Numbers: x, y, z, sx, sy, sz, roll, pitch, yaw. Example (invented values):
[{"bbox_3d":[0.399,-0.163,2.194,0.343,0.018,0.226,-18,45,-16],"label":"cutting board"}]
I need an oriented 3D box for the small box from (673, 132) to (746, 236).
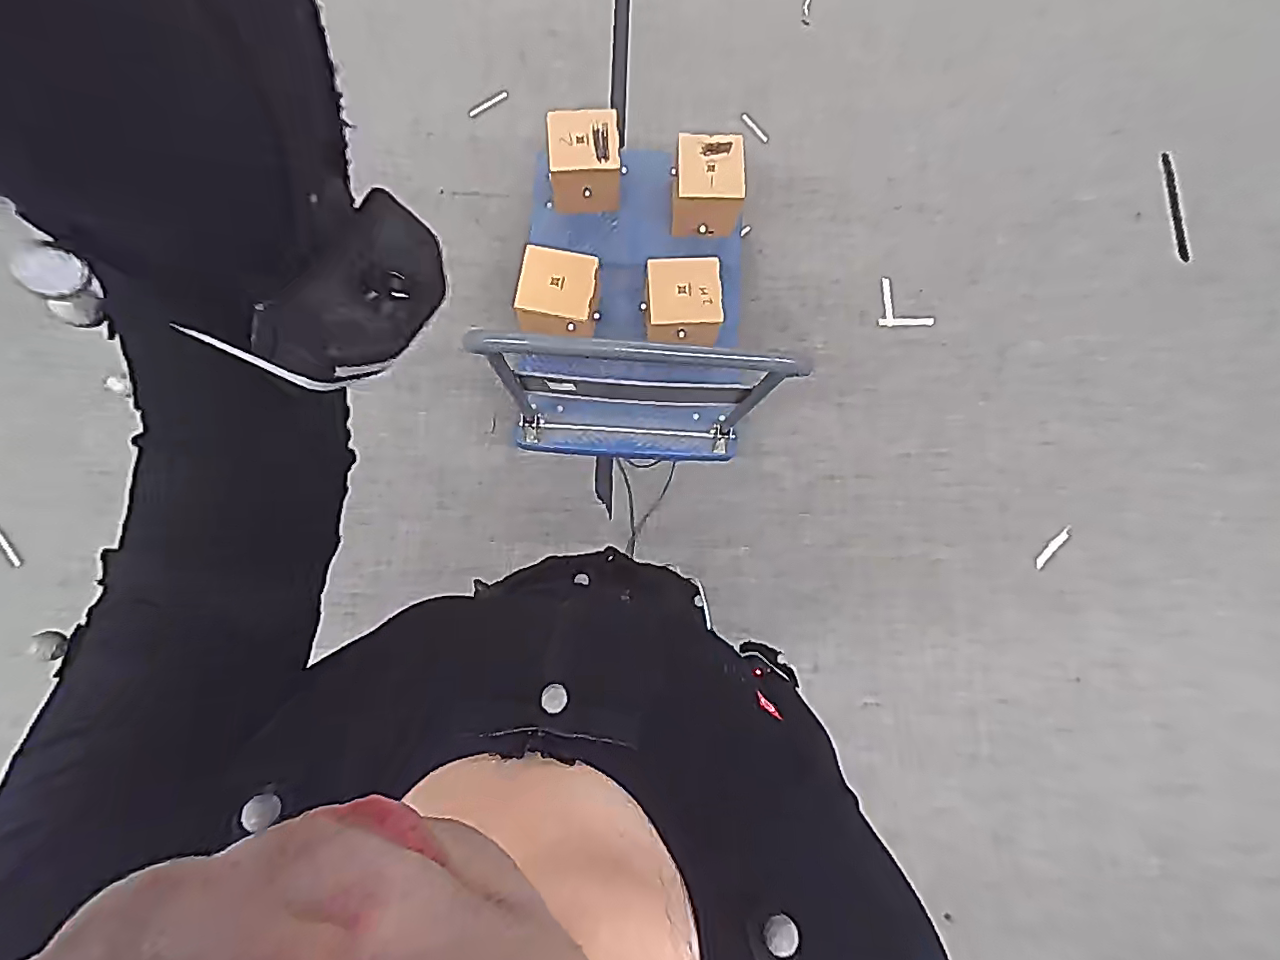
[{"bbox_3d":[0.177,-0.773,1.420,0.168,0.176,0.179,0,82,-2],"label":"small box"}]

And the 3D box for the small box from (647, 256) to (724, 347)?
[{"bbox_3d":[0.107,-0.445,1.368,0.179,0.176,0.168,-2,82,-3],"label":"small box"}]

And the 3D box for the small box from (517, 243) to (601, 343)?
[{"bbox_3d":[-0.196,-0.461,1.358,0.179,0.176,0.168,9,80,-2],"label":"small box"}]
